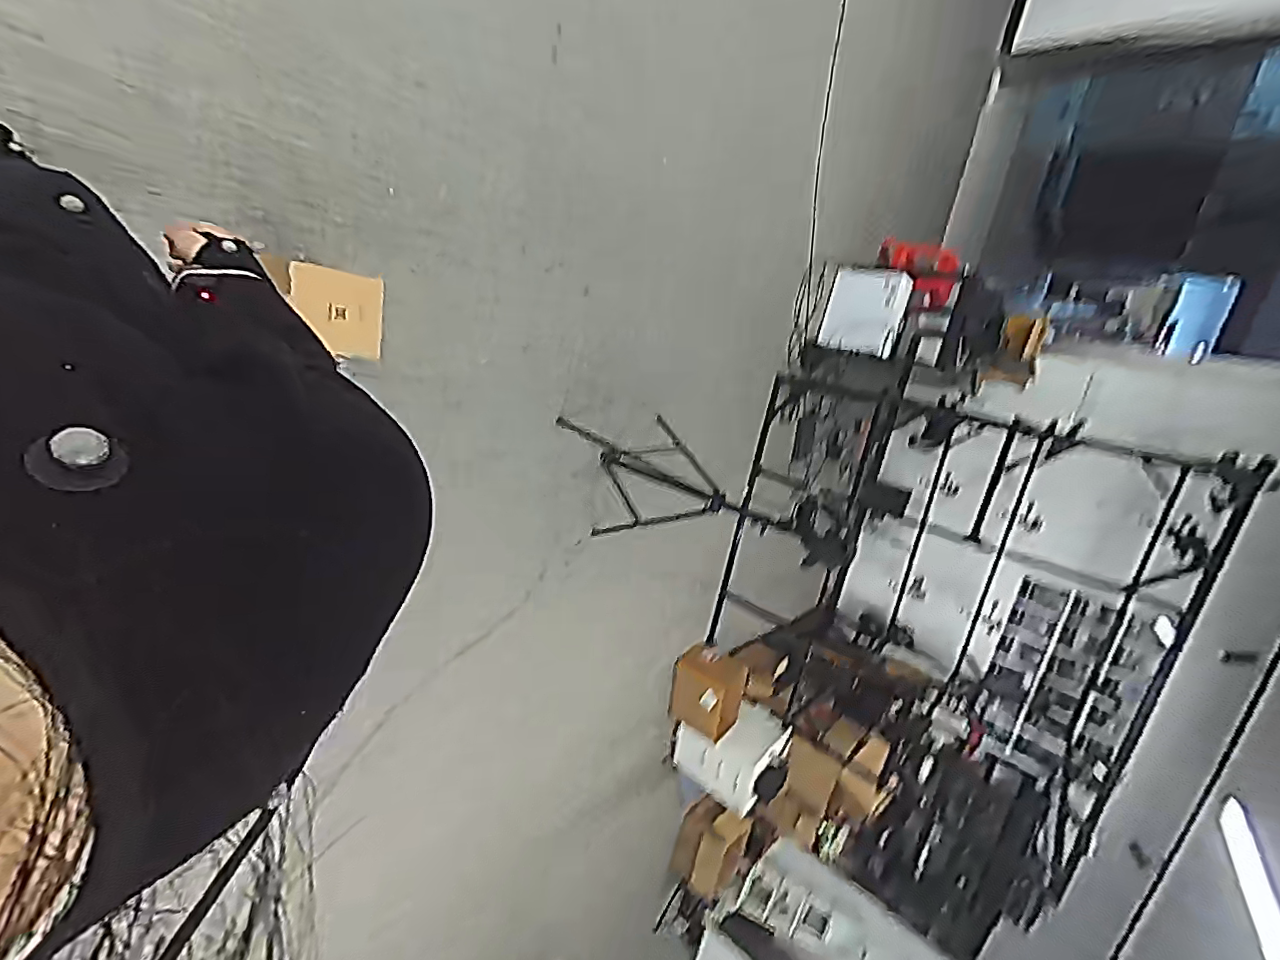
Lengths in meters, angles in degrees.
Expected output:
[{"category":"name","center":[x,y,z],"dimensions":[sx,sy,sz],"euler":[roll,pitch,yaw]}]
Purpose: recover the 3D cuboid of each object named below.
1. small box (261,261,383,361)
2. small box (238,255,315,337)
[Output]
[{"category":"small box","center":[-0.664,-0.351,1.123],"dimensions":[0.179,0.176,0.168],"euler":[-7,113,-50]},{"category":"small box","center":[-0.784,-0.402,1.221],"dimensions":[0.179,0.176,0.168],"euler":[-6,112,-50]}]
